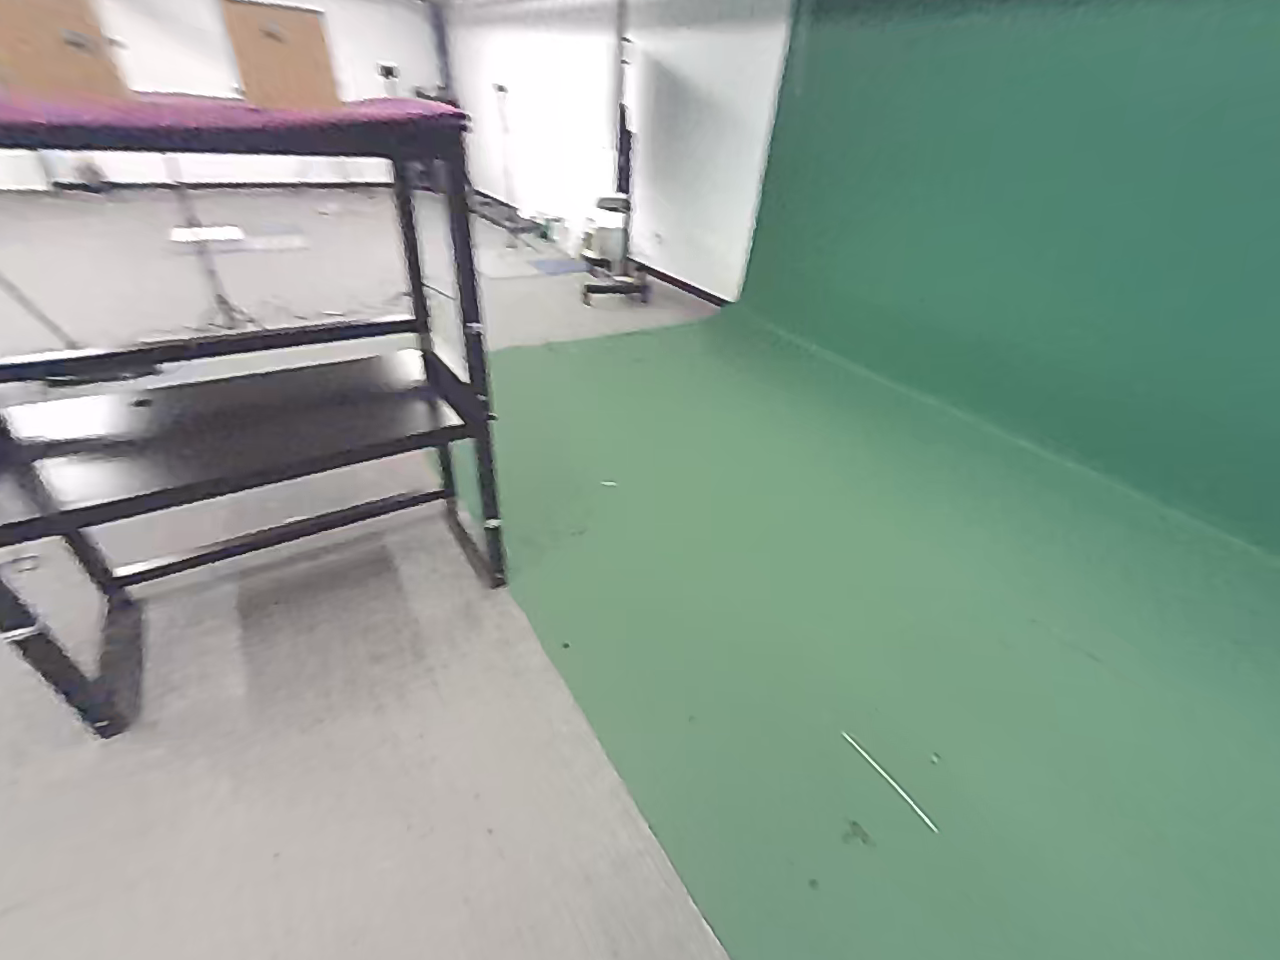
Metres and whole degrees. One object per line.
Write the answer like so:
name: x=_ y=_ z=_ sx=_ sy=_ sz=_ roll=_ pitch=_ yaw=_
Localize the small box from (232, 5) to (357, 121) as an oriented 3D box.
small box: x=-0.712 y=-0.851 z=1.120 sx=0.179 sy=0.176 sz=0.168 roll=-16 pitch=38 yaw=-28
